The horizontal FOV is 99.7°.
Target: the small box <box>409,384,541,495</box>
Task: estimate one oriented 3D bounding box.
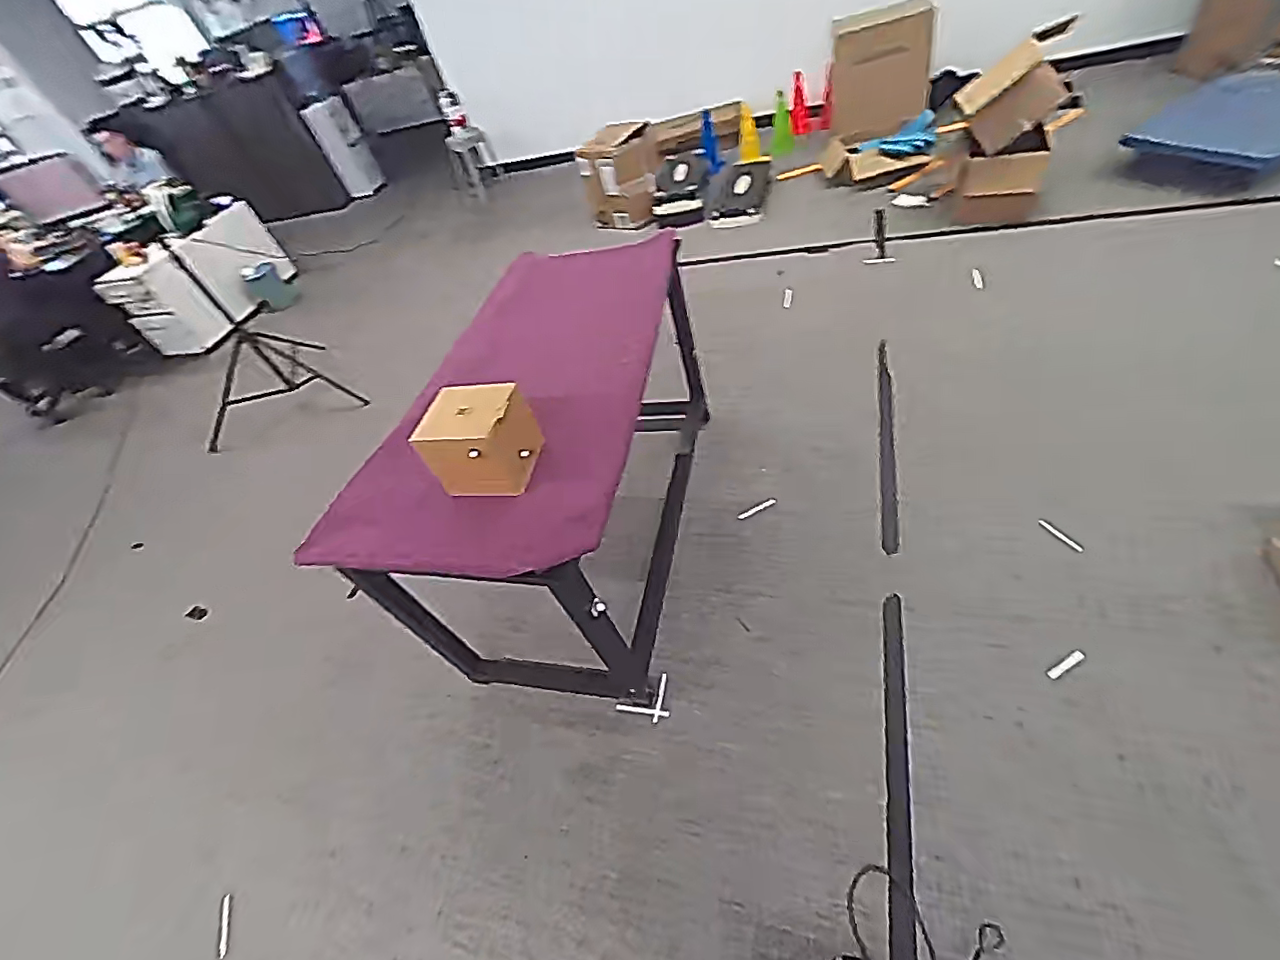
[{"bbox_3d":[-0.334,-0.080,1.128,0.179,0.176,0.168,-1,48,16],"label":"small box"}]
